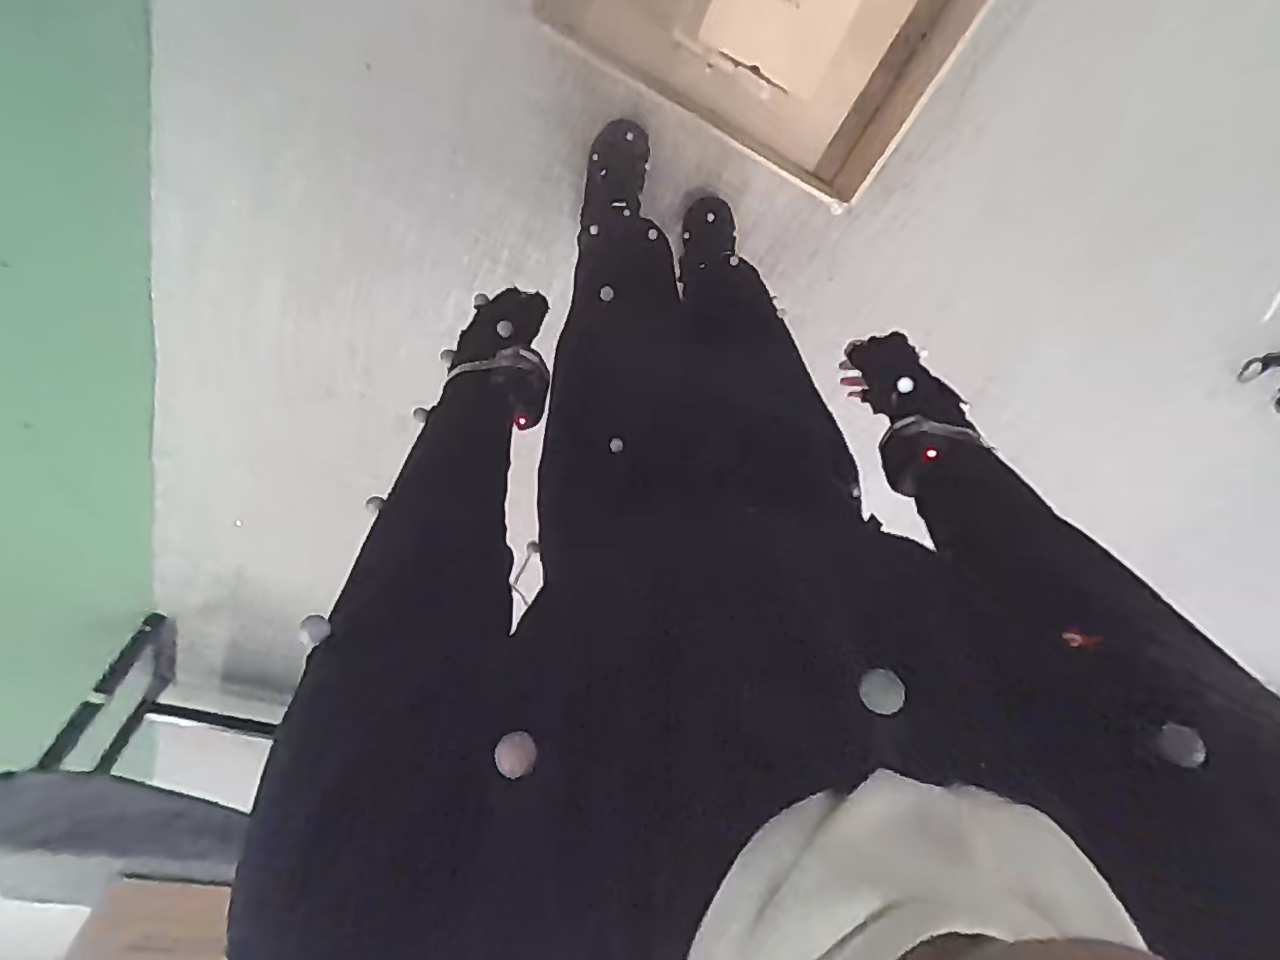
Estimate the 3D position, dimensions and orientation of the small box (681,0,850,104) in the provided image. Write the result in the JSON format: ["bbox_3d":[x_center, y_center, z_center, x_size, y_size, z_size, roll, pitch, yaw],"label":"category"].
[{"bbox_3d":[0.162,-0.629,0.695,0.168,0.176,0.179,18,128,-18],"label":"small box"}]

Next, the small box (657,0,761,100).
[{"bbox_3d":[0.142,-0.735,0.839,0.179,0.176,0.168,22,125,-20],"label":"small box"}]
